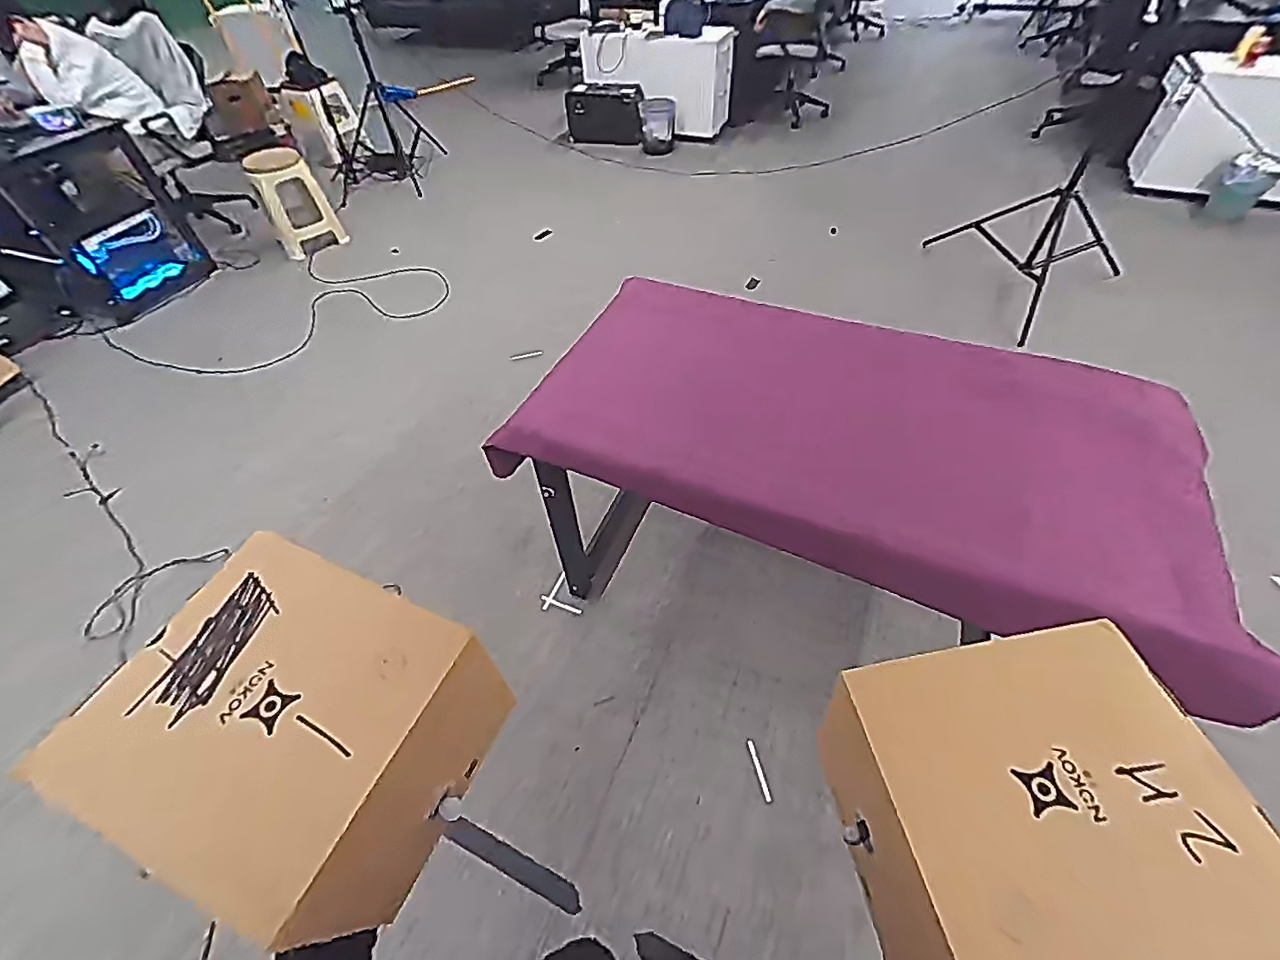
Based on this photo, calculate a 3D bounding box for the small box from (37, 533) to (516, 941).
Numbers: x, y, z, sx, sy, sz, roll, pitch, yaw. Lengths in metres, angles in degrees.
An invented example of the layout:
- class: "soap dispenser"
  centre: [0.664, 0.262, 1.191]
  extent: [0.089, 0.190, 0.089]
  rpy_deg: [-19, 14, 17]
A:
- class: "small box"
  centre: [-0.209, 0.170, 0.372]
  extent: [0.179, 0.176, 0.168]
  rpy_deg: [21, 57, 12]

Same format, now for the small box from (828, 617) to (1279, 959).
- class: "small box"
  centre: [0.235, 0.215, 0.352]
  extent: [0.179, 0.176, 0.168]
  rpy_deg: [-11, 49, 0]
